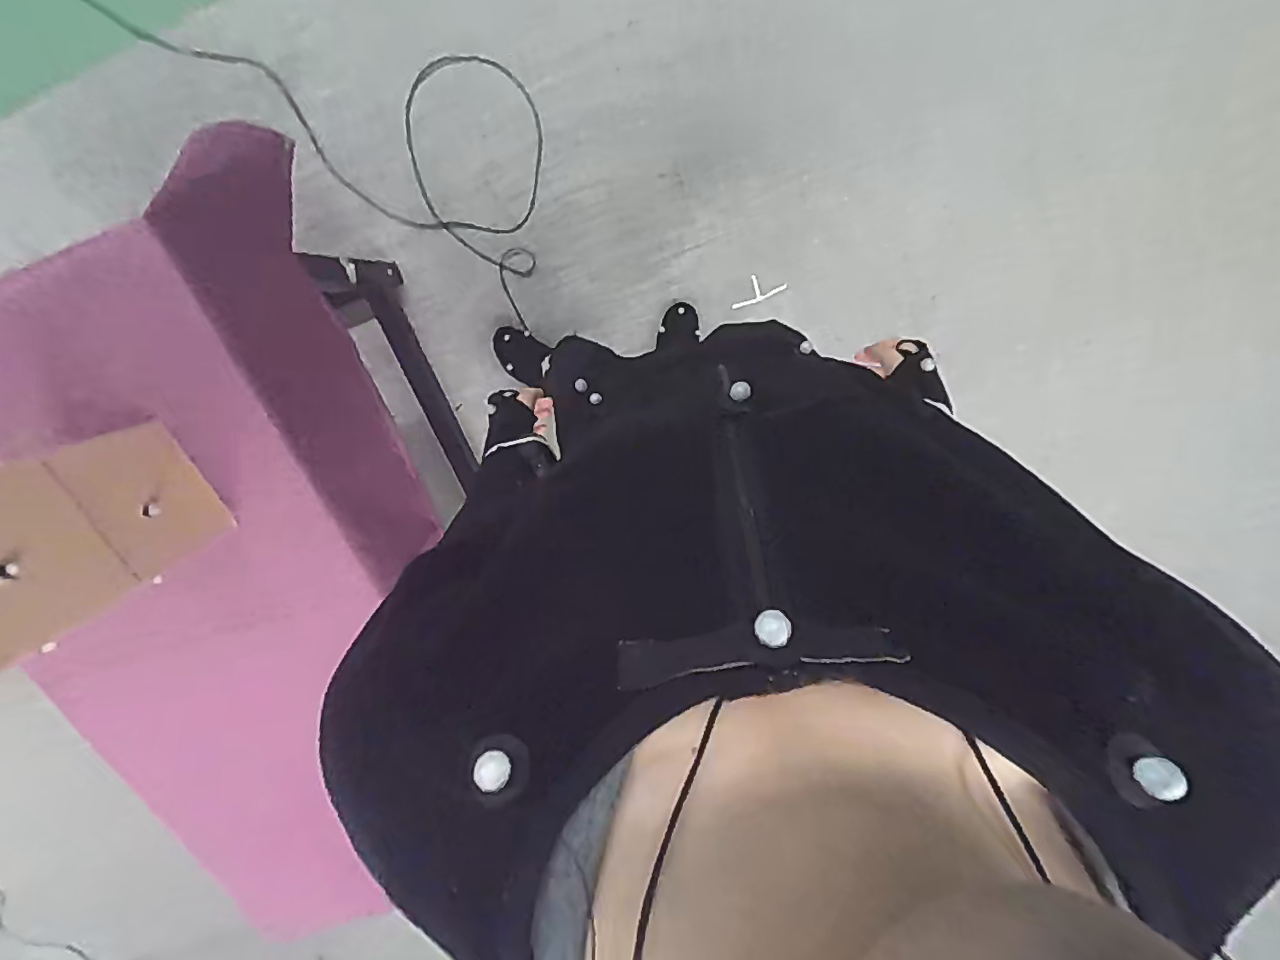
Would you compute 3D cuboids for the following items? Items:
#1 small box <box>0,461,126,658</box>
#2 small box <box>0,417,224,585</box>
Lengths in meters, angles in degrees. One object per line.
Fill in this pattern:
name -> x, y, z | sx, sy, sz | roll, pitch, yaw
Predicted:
small box -> -0.688, 0.095, 0.528 | 0.168, 0.176, 0.179 | -21, 108, 7
small box -> -0.692, 0.041, 0.684 | 0.168, 0.176, 0.179 | -22, 109, 7
